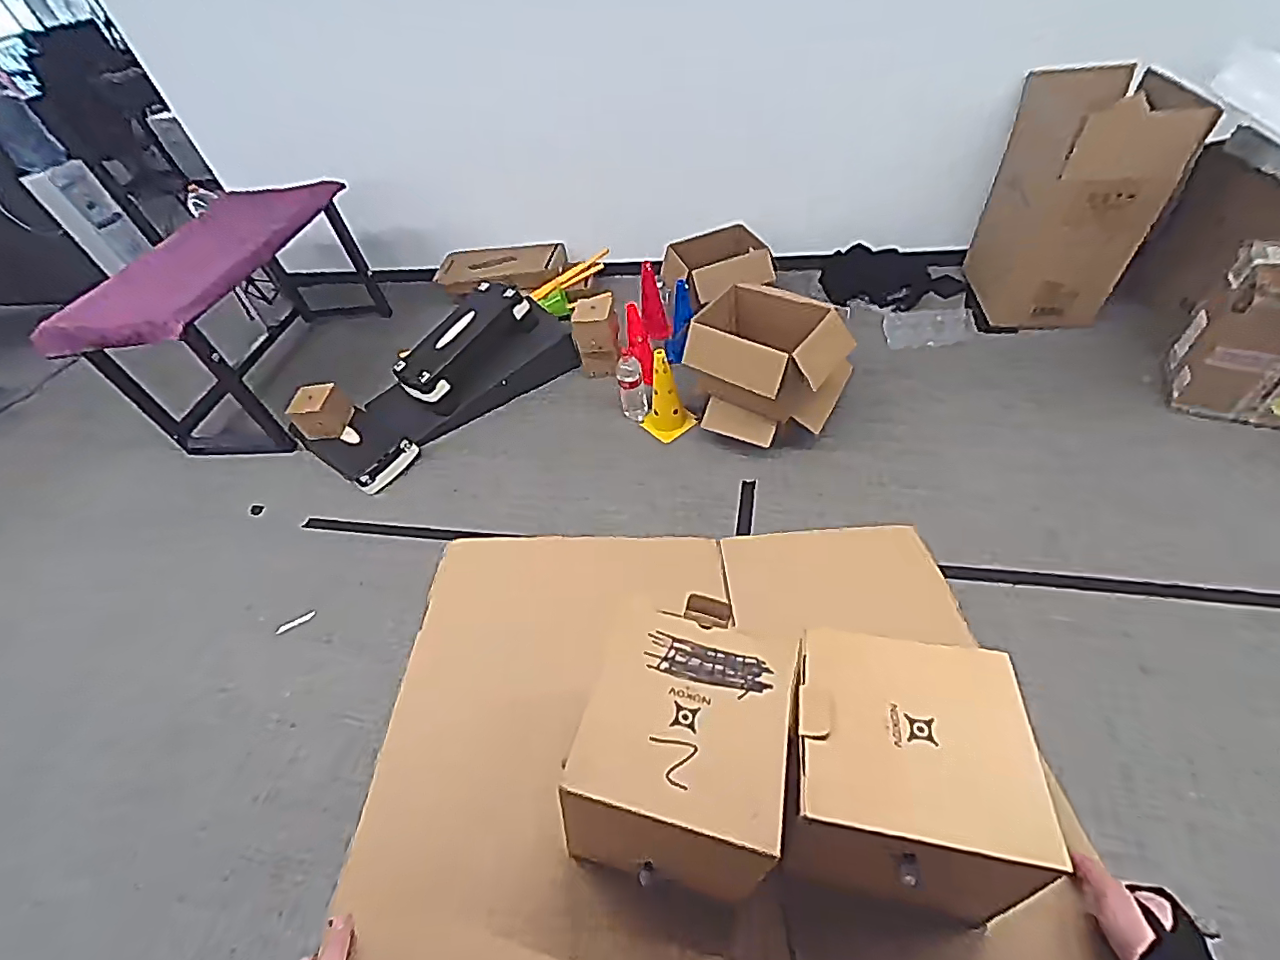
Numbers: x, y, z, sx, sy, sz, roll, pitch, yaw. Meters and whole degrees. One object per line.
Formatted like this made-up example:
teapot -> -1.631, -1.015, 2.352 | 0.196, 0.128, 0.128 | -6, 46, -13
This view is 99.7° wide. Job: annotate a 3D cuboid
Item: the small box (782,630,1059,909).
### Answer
small box -> 0.230, 0.265, 0.498 | 0.179, 0.176, 0.168 | 4, 43, 14
